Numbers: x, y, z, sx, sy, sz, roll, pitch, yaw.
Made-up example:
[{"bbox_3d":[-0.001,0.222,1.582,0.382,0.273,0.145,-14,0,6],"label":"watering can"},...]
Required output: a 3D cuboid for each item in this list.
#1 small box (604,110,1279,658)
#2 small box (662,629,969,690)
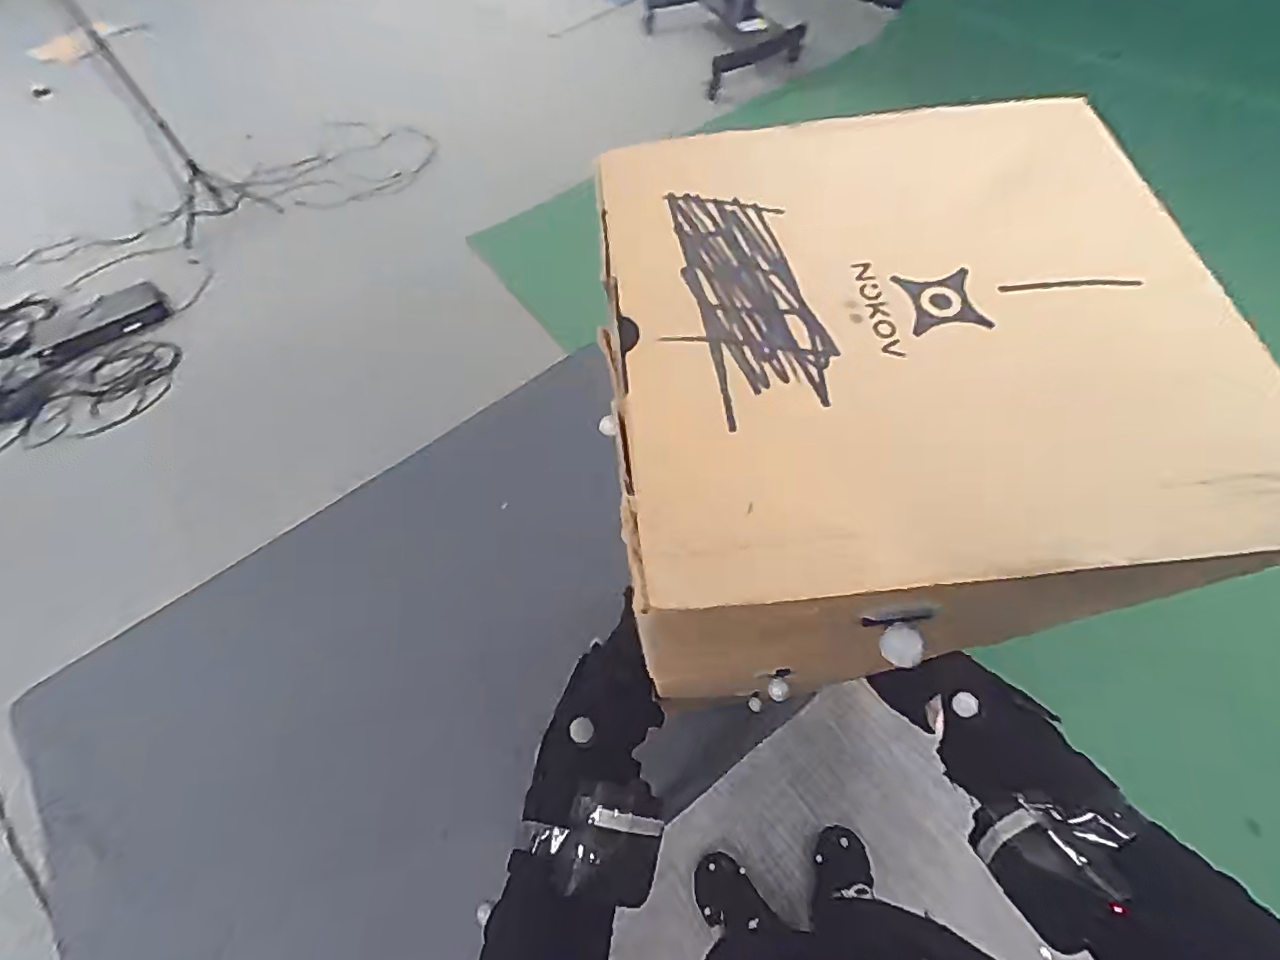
[{"bbox_3d":[0.083,-0.020,0.238,0.179,0.176,0.168,-5,66,0],"label":"small box"},{"bbox_3d":[0.090,0.045,0.392,0.168,0.176,0.179,-8,66,-2],"label":"small box"}]
